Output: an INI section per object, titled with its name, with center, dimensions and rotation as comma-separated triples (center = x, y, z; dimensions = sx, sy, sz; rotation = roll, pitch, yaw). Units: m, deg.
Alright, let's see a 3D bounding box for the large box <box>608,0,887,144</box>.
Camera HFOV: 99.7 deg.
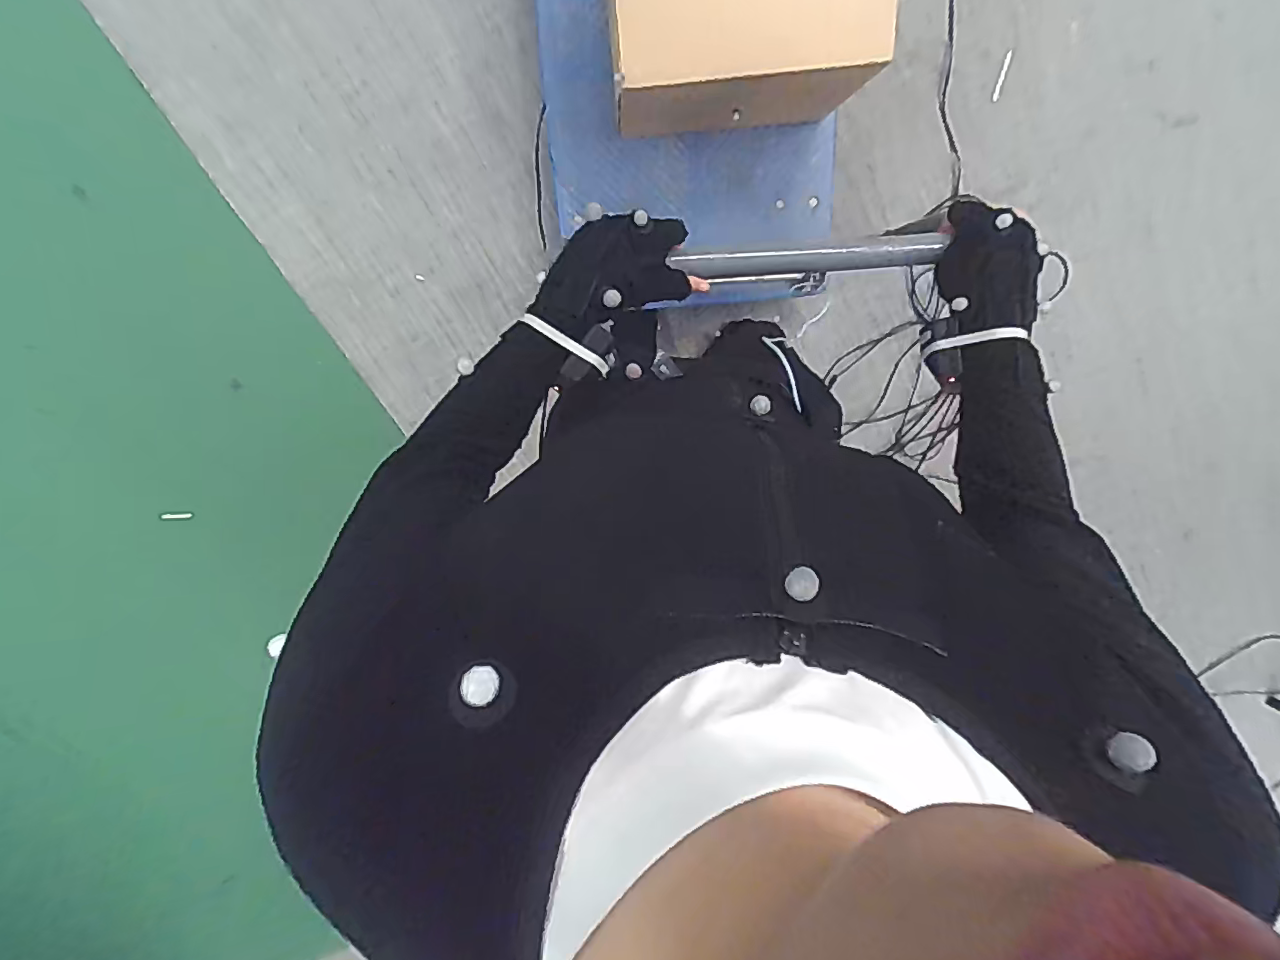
[large box]
center = 0.153, -0.789, 0.900
dimensions = 0.408, 0.320, 0.320
rotation = -6, 109, 2
